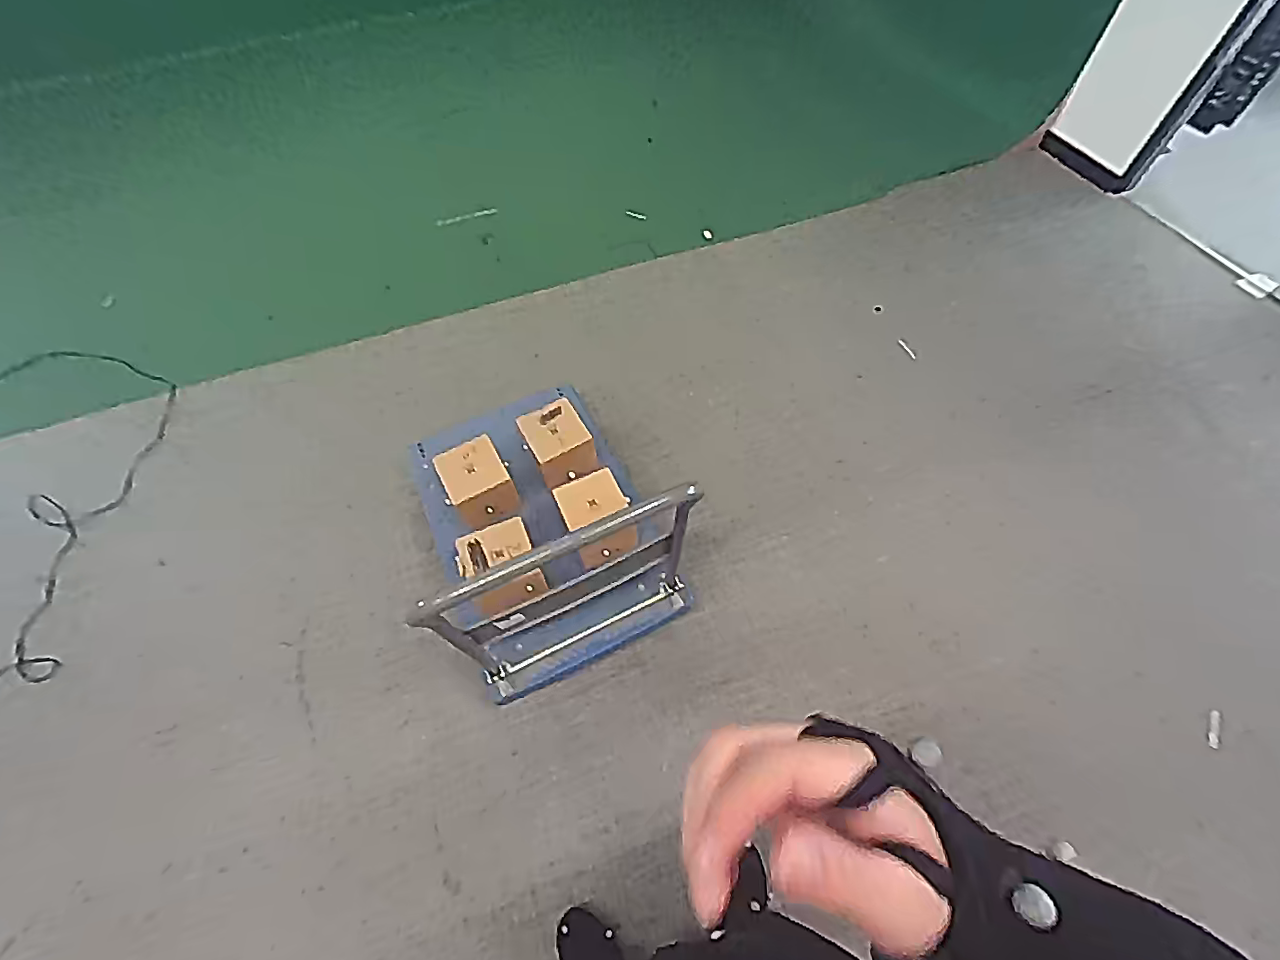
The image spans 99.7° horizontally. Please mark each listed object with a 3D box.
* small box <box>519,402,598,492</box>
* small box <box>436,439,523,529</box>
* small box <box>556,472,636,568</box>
[{"bbox_3d":[-0.240,-0.093,1.620,0.168,0.176,0.179,-28,63,-13],"label":"small box"},{"bbox_3d":[-0.456,0.021,1.560,0.168,0.176,0.179,-27,62,-14],"label":"small box"},{"bbox_3d":[-0.118,0.113,1.494,0.168,0.176,0.179,-23,61,-12],"label":"small box"}]
